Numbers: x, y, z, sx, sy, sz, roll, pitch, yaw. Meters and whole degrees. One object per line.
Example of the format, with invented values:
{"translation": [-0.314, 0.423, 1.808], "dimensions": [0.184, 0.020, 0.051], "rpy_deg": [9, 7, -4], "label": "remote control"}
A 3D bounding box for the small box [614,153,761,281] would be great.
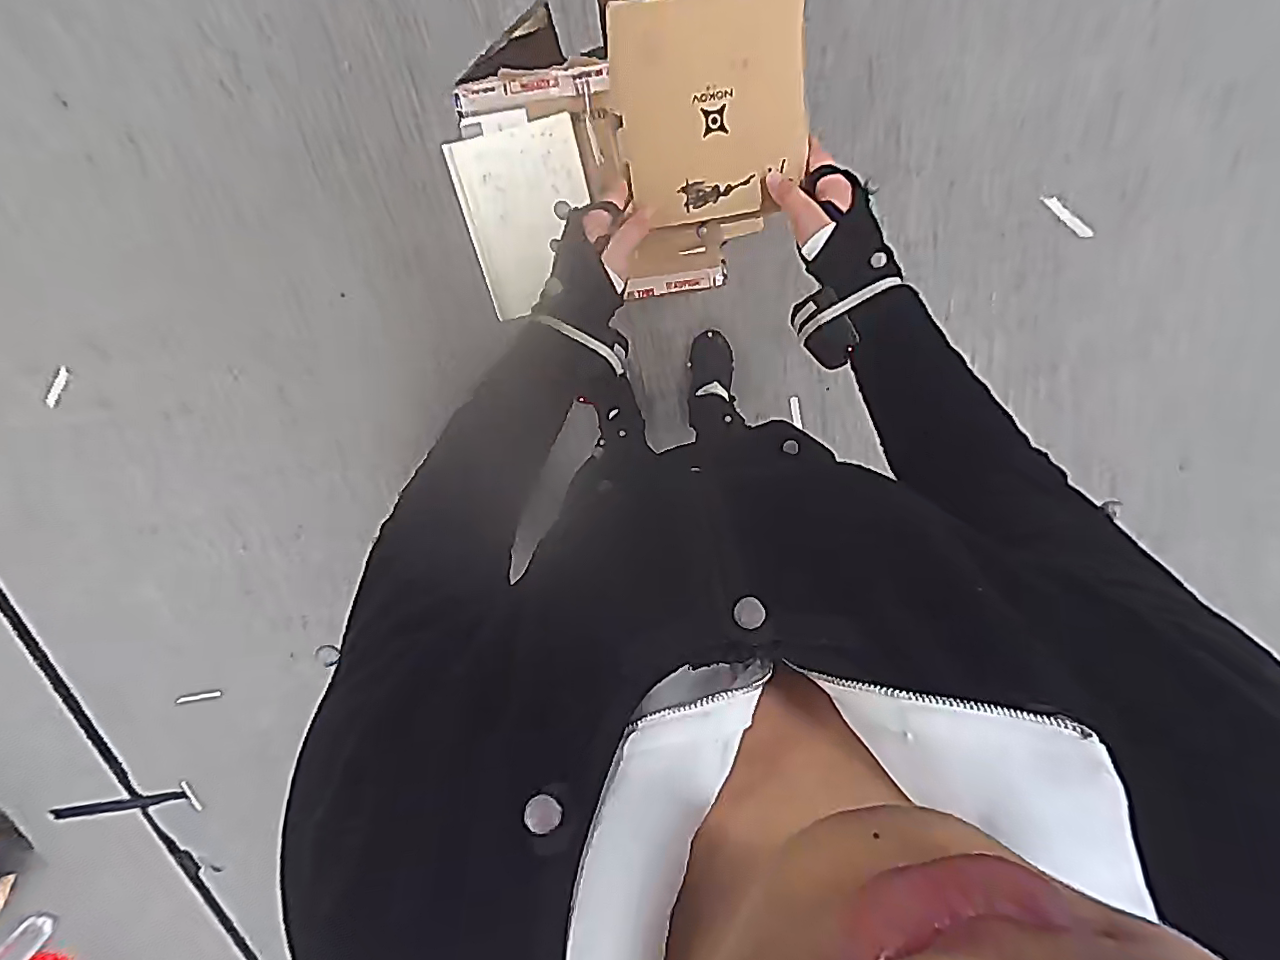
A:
{"translation": [0.064, -0.399, 0.796], "dimensions": [0.179, 0.176, 0.168], "rpy_deg": [-13, 109, 3], "label": "small box"}

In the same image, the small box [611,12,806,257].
{"translation": [0.063, -0.336, 0.563], "dimensions": [0.168, 0.176, 0.179], "rpy_deg": [-9, 113, 1], "label": "small box"}
